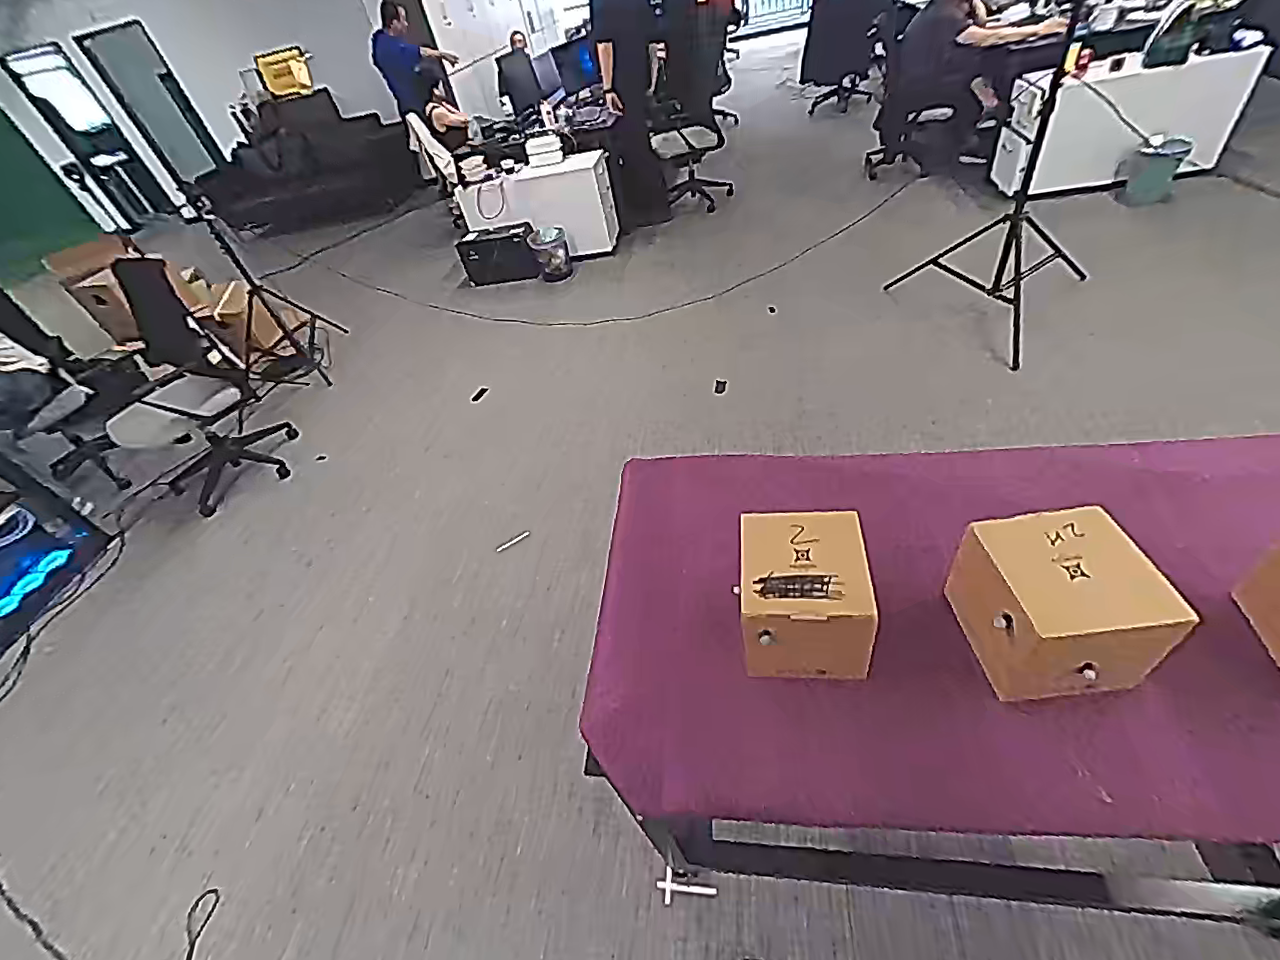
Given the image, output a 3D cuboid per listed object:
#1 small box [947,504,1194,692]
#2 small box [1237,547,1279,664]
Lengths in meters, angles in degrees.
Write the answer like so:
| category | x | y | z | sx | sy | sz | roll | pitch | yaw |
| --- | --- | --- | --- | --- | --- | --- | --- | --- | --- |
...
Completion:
| category | x | y | z | sx | sy | sz | roll | pitch | yaw |
| --- | --- | --- | --- | --- | --- | --- | --- | --- | --- |
| small box | 0.534 | 0.160 | 0.706 | 0.168 | 0.176 | 0.179 | -9 | 43 | 6 |
| small box | 0.869 | 0.154 | 0.622 | 0.168 | 0.176 | 0.179 | 0 | 44 | 16 |
